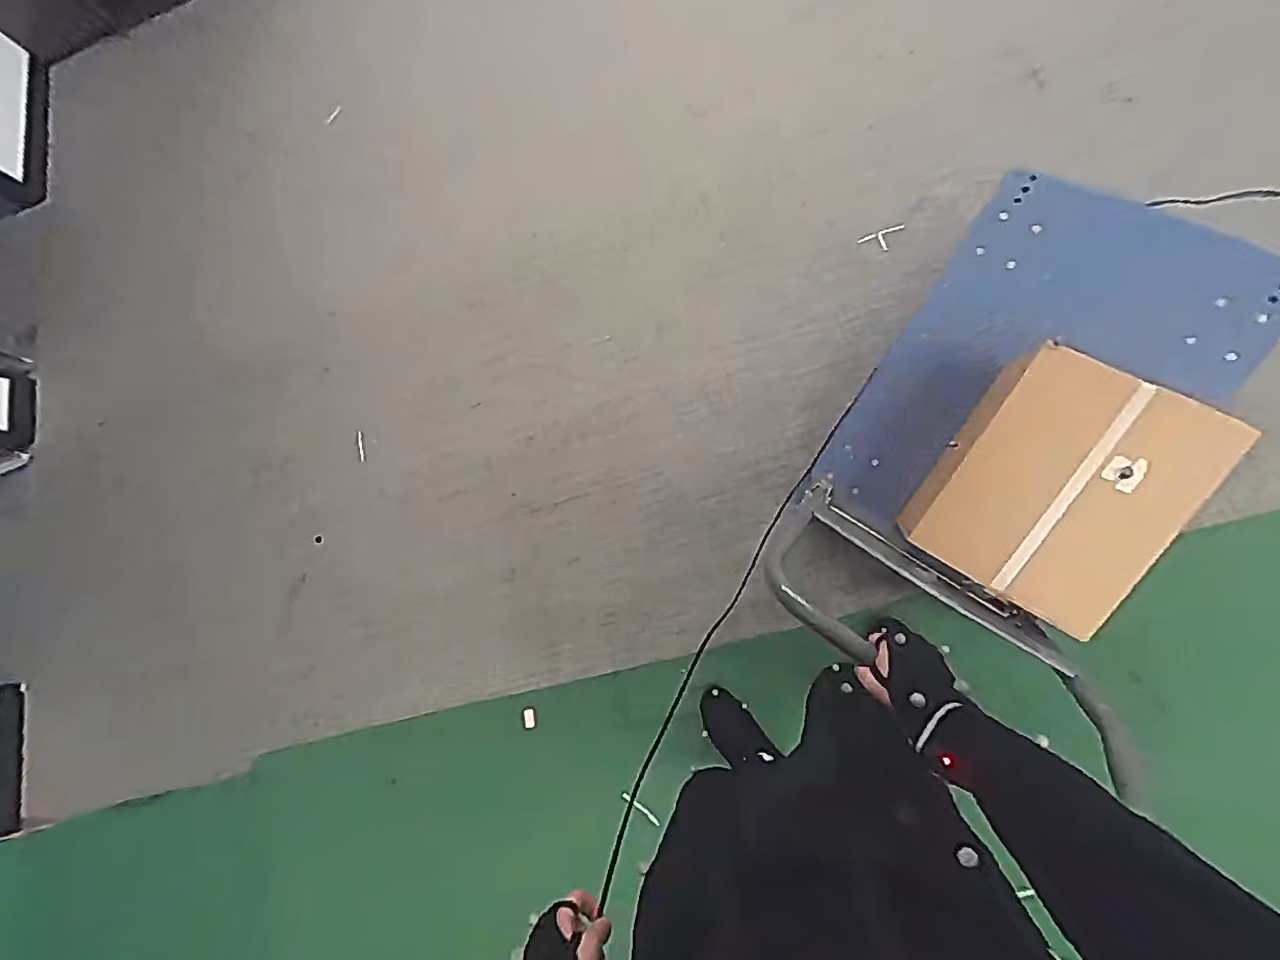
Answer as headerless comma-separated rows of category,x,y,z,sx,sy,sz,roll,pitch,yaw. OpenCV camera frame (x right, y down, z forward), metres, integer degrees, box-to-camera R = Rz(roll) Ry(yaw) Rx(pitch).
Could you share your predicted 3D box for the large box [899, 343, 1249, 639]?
large box,0.753,0.017,1.030,0.320,0.320,0.408,34,103,17
